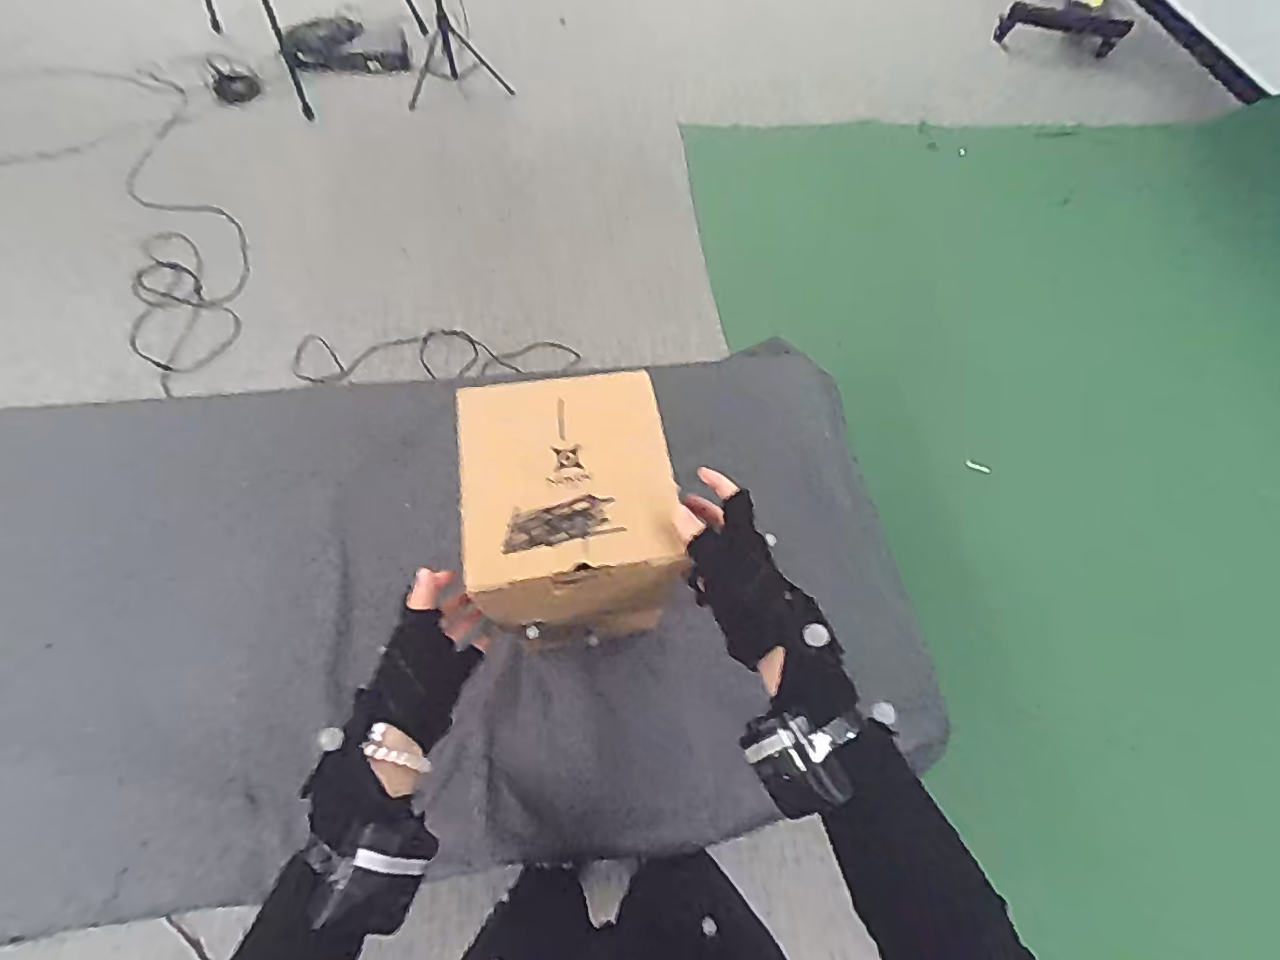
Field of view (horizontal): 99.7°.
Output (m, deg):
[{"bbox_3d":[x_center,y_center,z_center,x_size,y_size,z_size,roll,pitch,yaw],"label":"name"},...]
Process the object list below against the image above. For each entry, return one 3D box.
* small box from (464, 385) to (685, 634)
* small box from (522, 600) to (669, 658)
[{"bbox_3d":[-0.061,0.038,0.507,0.168,0.176,0.179,-7,63,-7],"label":"small box"},{"bbox_3d":[-0.068,0.104,0.659,0.168,0.176,0.179,-8,64,-8],"label":"small box"}]
